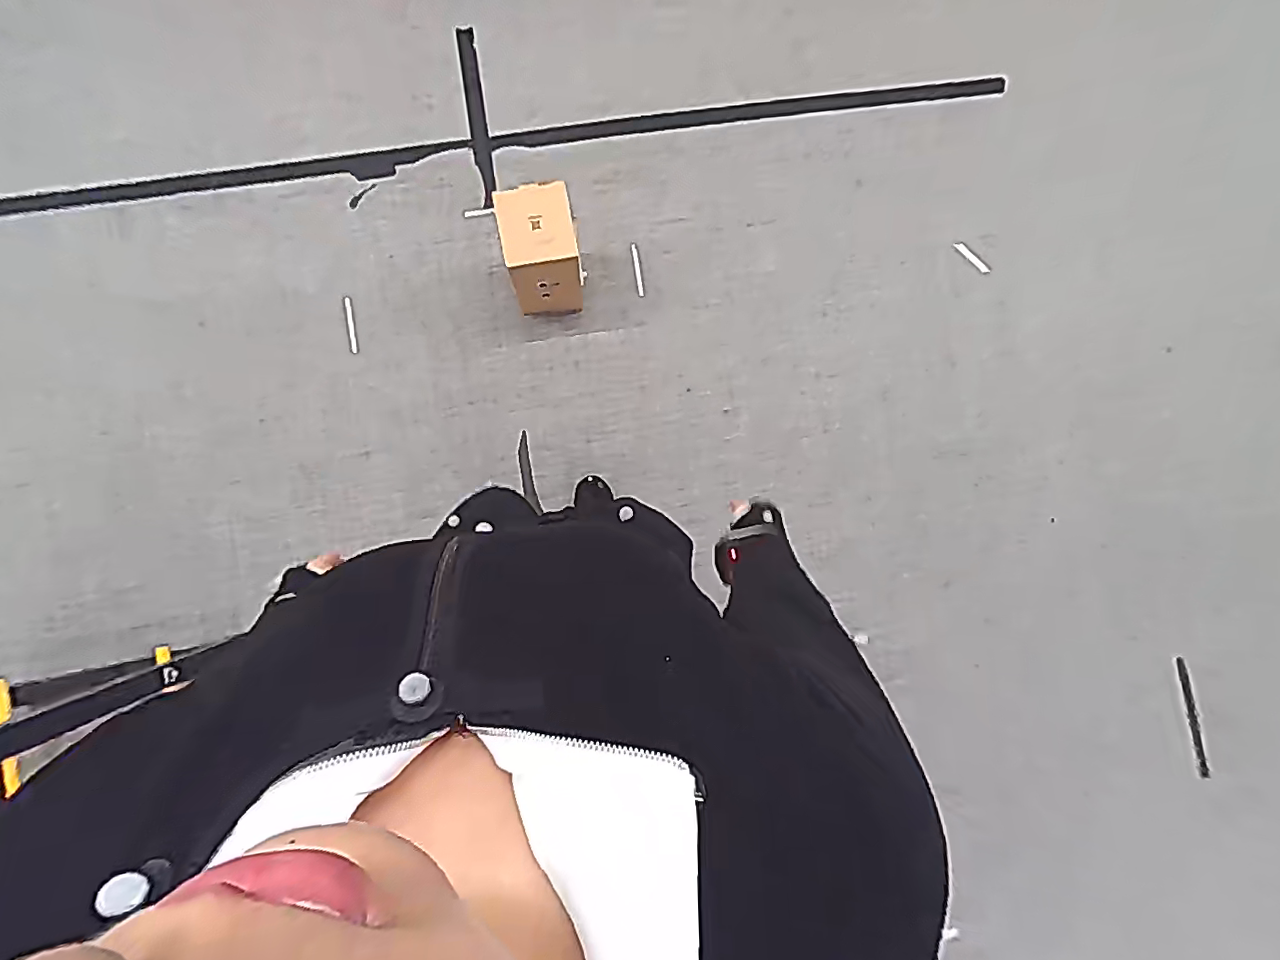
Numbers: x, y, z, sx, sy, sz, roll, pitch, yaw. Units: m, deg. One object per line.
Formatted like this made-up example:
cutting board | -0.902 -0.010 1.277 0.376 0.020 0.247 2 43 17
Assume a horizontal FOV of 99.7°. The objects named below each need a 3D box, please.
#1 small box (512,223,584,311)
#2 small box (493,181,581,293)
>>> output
small box | -0.245 -0.559 1.437 0.179 0.176 0.168 -7 89 -6
small box | -0.237 -0.565 1.275 0.168 0.176 0.179 -11 90 -4
